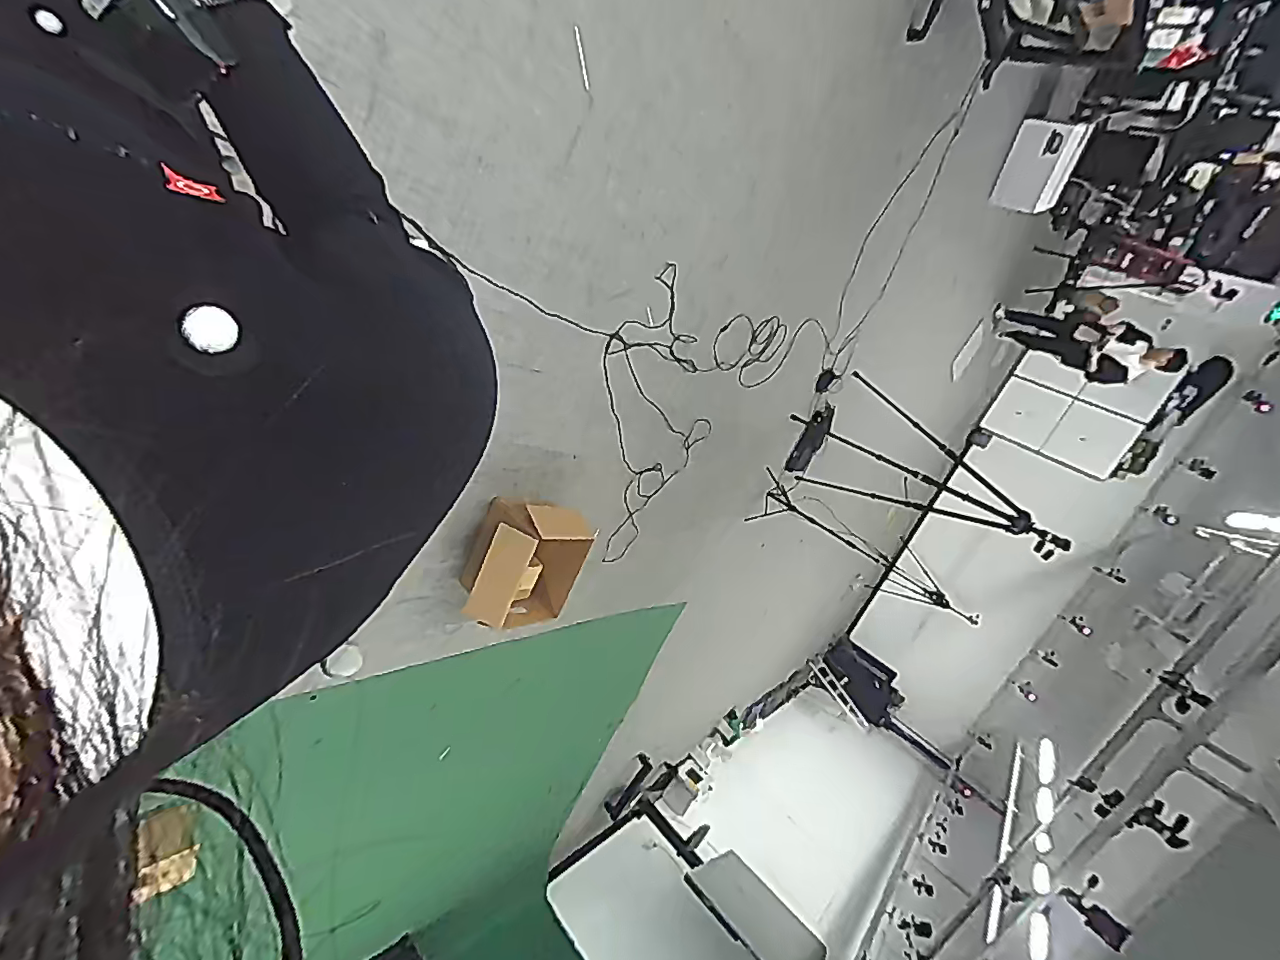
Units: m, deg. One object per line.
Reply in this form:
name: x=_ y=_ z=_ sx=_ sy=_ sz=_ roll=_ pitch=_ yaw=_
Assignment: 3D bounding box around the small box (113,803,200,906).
small box: x=-1.539 y=1.180 z=1.717 sx=0.179 sy=0.176 sz=0.168 roll=-1 pitch=121 yaw=-53
